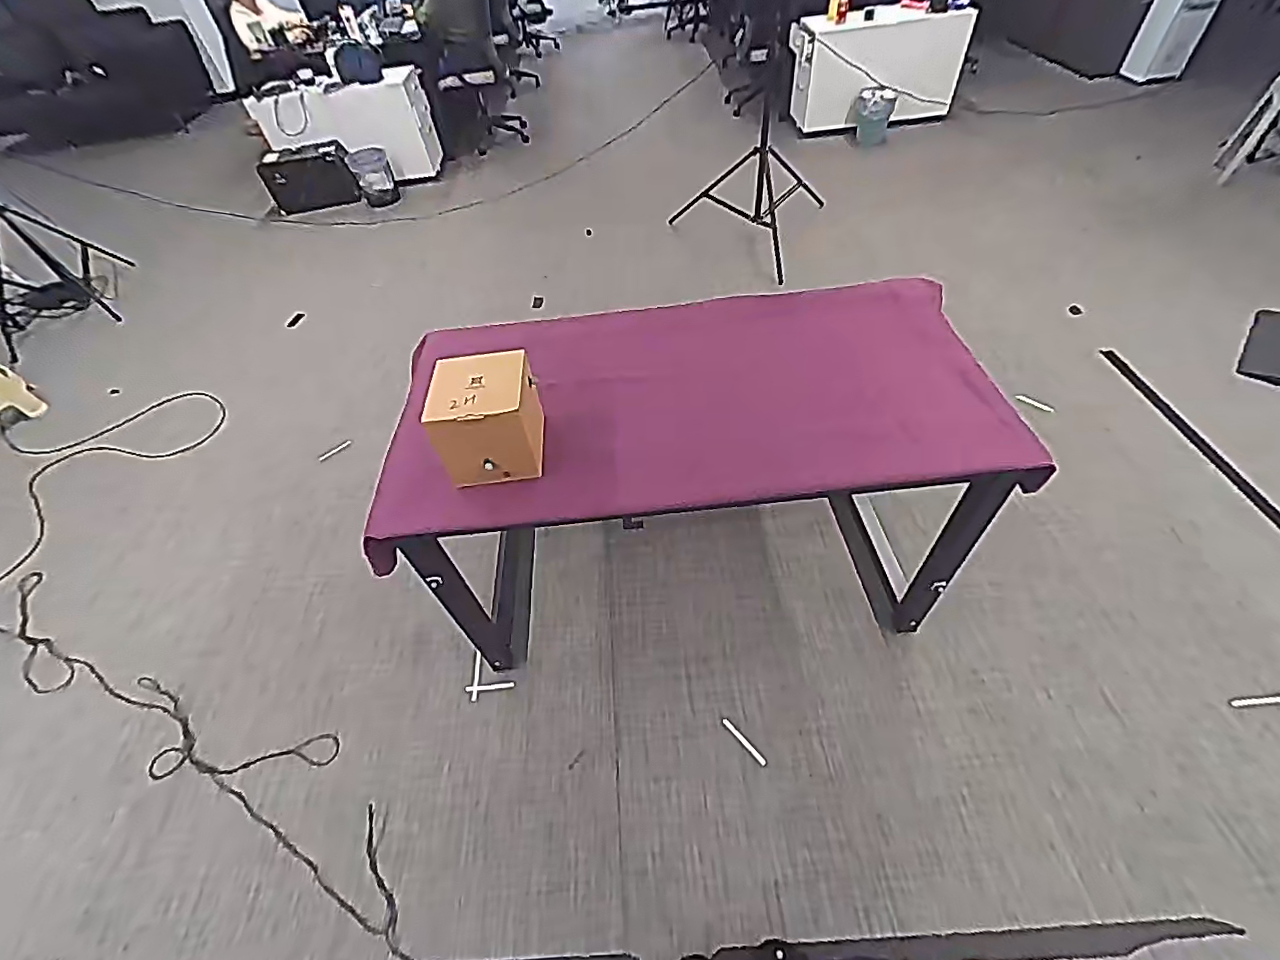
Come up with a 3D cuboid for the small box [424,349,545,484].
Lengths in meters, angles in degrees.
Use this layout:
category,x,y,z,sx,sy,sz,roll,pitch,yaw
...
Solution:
category,x,y,z,sx,sy,sz,roll,pitch,yaw
small box,-0.276,-0.116,1.003,0.168,0.176,0.179,-7,49,1
